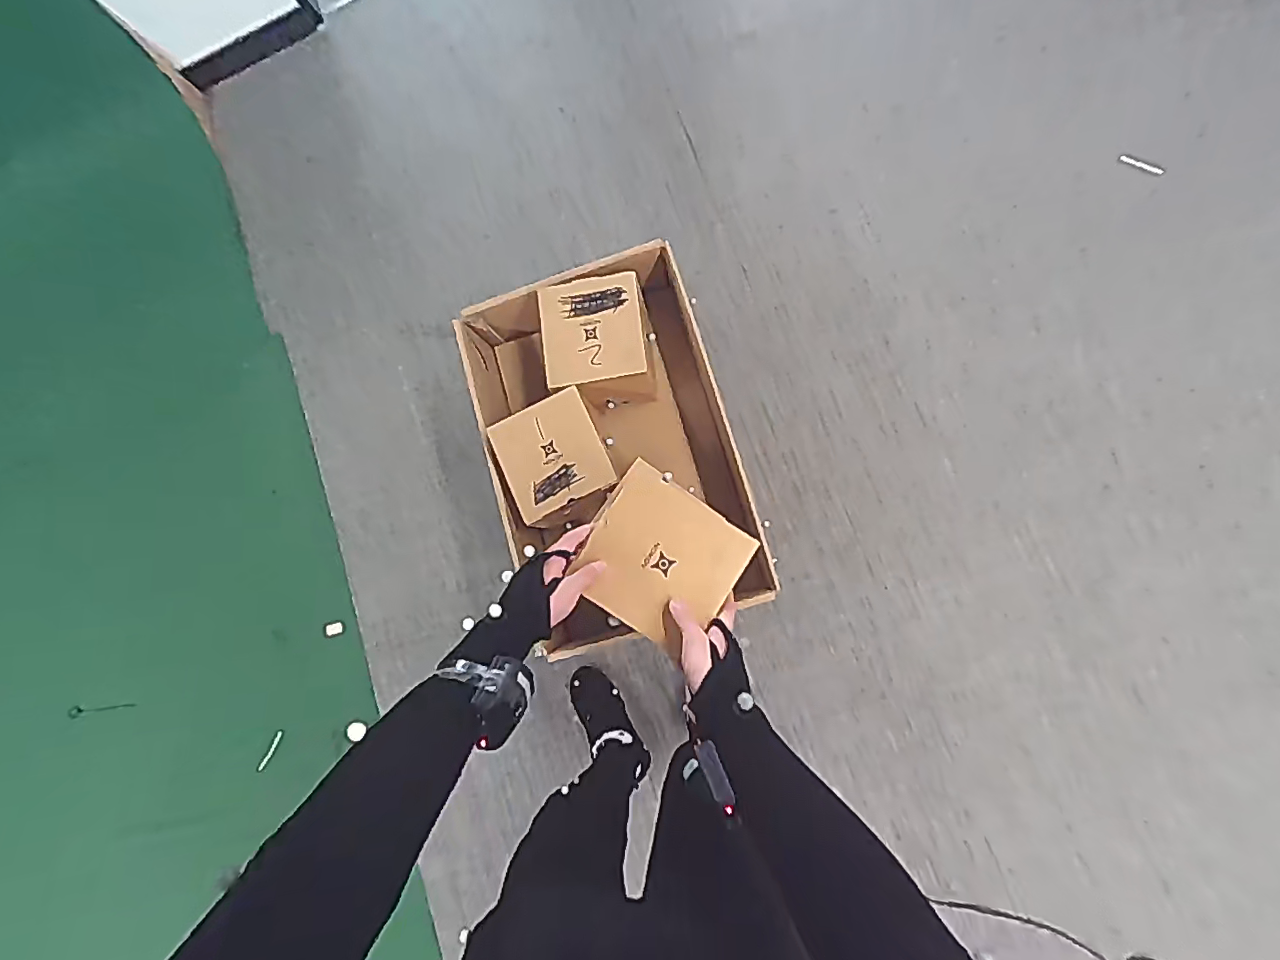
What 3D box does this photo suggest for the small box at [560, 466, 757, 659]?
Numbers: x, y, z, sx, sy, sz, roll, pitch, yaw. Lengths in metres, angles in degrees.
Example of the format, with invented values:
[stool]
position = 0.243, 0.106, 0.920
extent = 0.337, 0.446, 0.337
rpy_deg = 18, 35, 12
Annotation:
[small box]
position = 0.025, 0.100, 0.709
extent = 0.179, 0.176, 0.168
rpy_deg = 33, 87, 5
